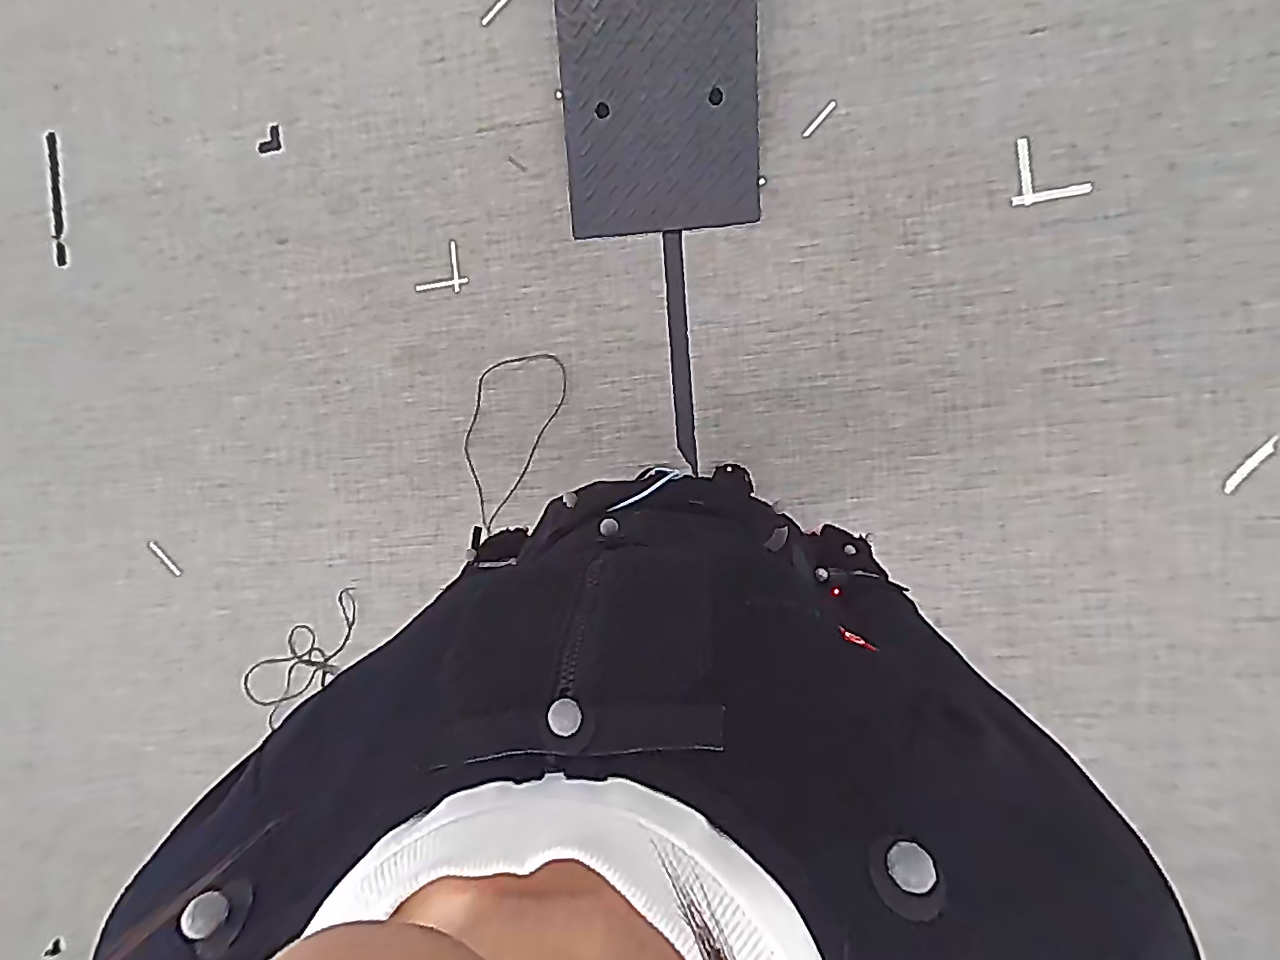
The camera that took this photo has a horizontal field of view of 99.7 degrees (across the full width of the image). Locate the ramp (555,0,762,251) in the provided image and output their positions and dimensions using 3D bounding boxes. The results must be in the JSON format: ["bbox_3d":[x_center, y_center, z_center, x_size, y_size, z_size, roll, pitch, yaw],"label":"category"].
[{"bbox_3d":[0.037,-1.125,1.345,0.509,0.206,0.991,-5,91,7],"label":"ramp"}]
